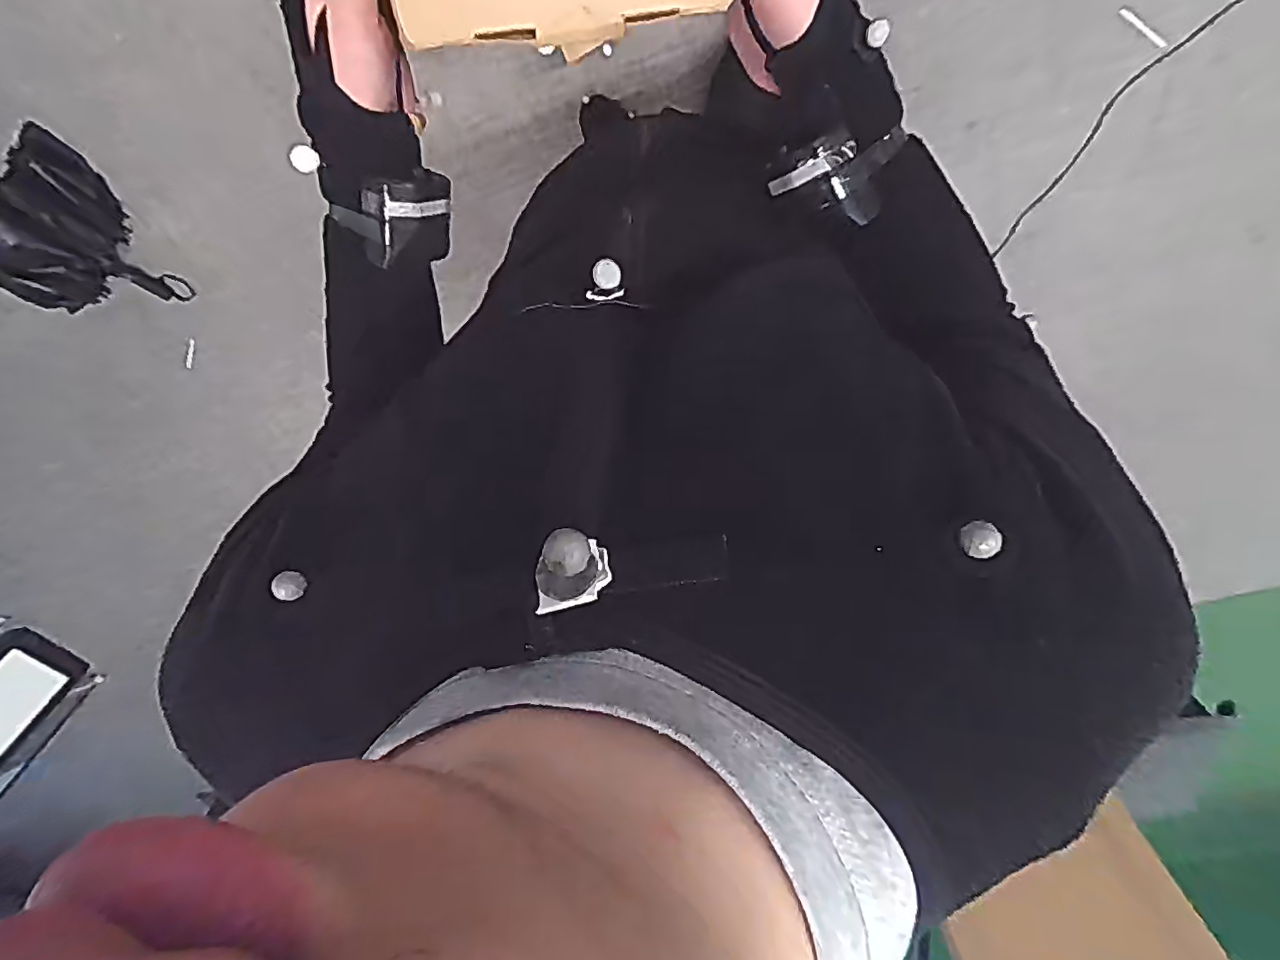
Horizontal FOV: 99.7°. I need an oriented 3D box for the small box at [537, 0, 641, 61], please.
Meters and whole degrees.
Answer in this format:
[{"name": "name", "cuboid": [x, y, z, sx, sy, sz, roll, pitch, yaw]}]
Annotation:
[{"name": "small box", "cuboid": [-0.111, -0.926, 1.017, 0.168, 0.176, 0.179, -22, 126, 14]}]
